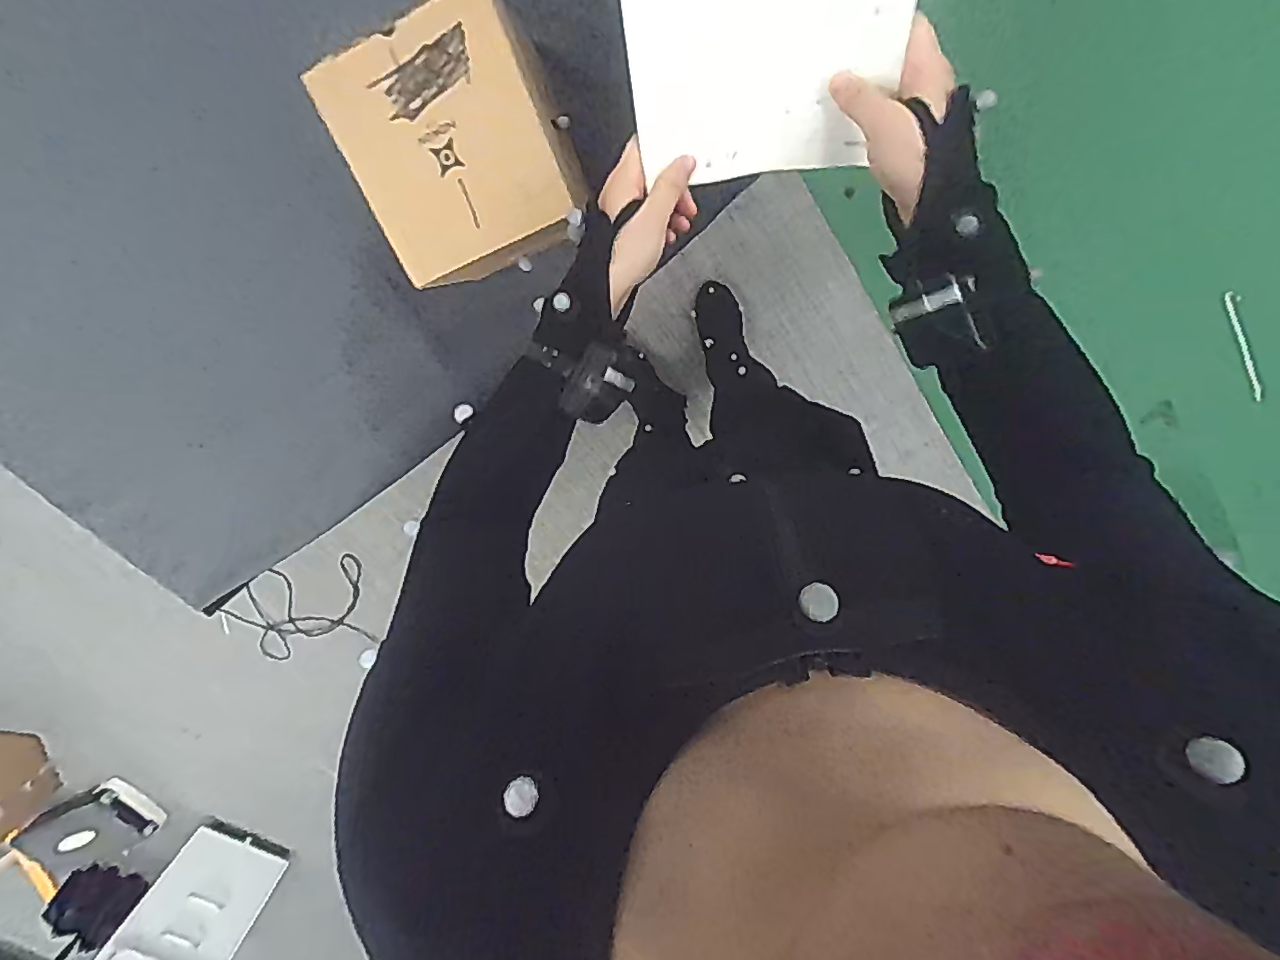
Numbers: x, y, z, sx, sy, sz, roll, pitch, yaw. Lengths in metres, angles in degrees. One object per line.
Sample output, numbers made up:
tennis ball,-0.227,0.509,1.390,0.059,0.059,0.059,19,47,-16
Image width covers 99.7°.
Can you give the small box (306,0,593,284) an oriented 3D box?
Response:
small box,-0.159,-0.308,0.520,0.168,0.176,0.179,-19,112,12
